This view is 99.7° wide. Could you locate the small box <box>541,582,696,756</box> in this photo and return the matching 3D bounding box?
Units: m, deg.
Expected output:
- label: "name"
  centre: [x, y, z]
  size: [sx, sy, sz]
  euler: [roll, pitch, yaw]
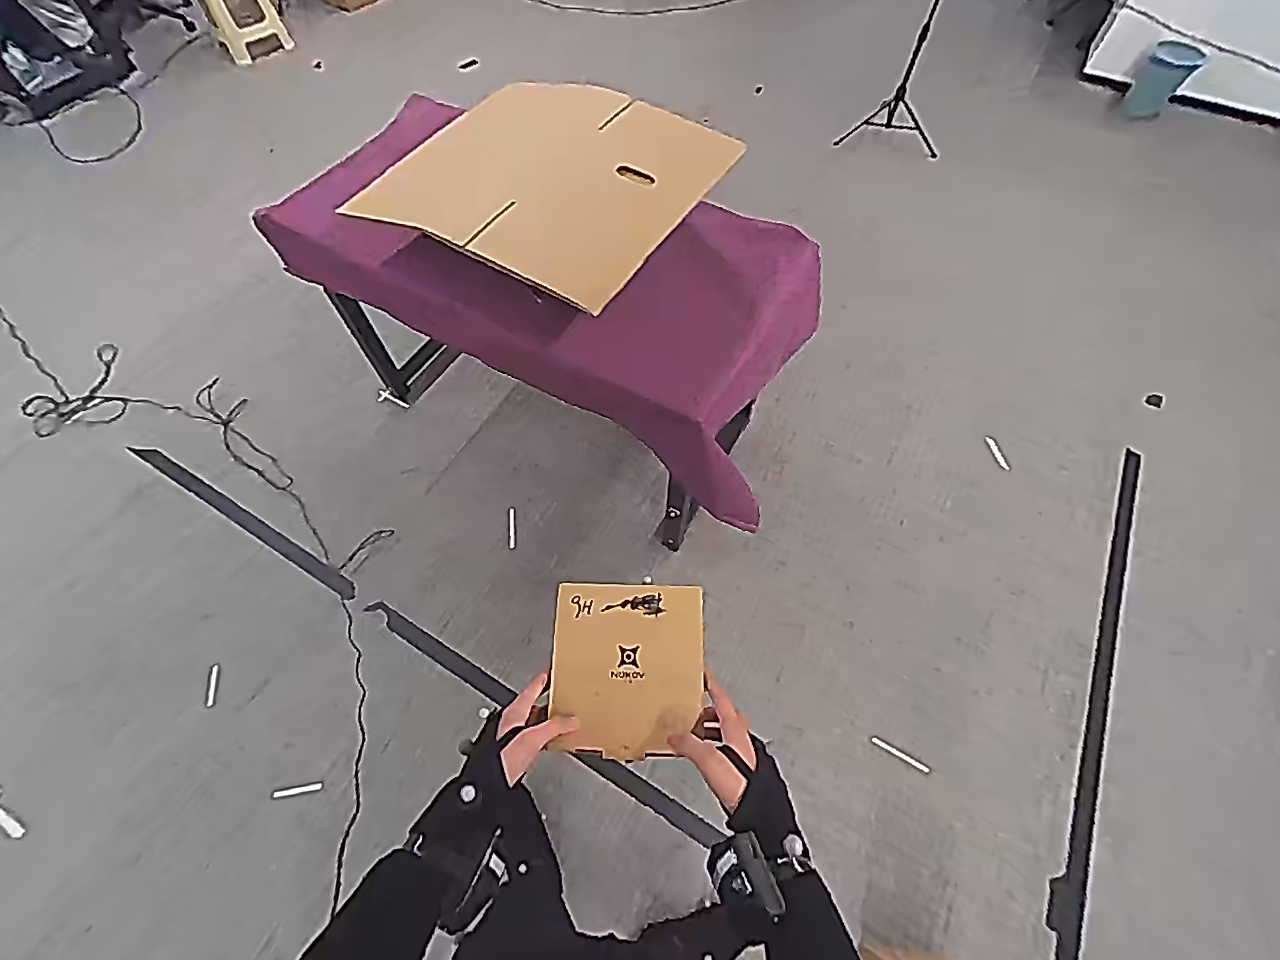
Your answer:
- label: "small box"
  centre: [-0.016, 0.228, 0.664]
  size: [0.168, 0.176, 0.179]
  euler: [1, 69, 3]
